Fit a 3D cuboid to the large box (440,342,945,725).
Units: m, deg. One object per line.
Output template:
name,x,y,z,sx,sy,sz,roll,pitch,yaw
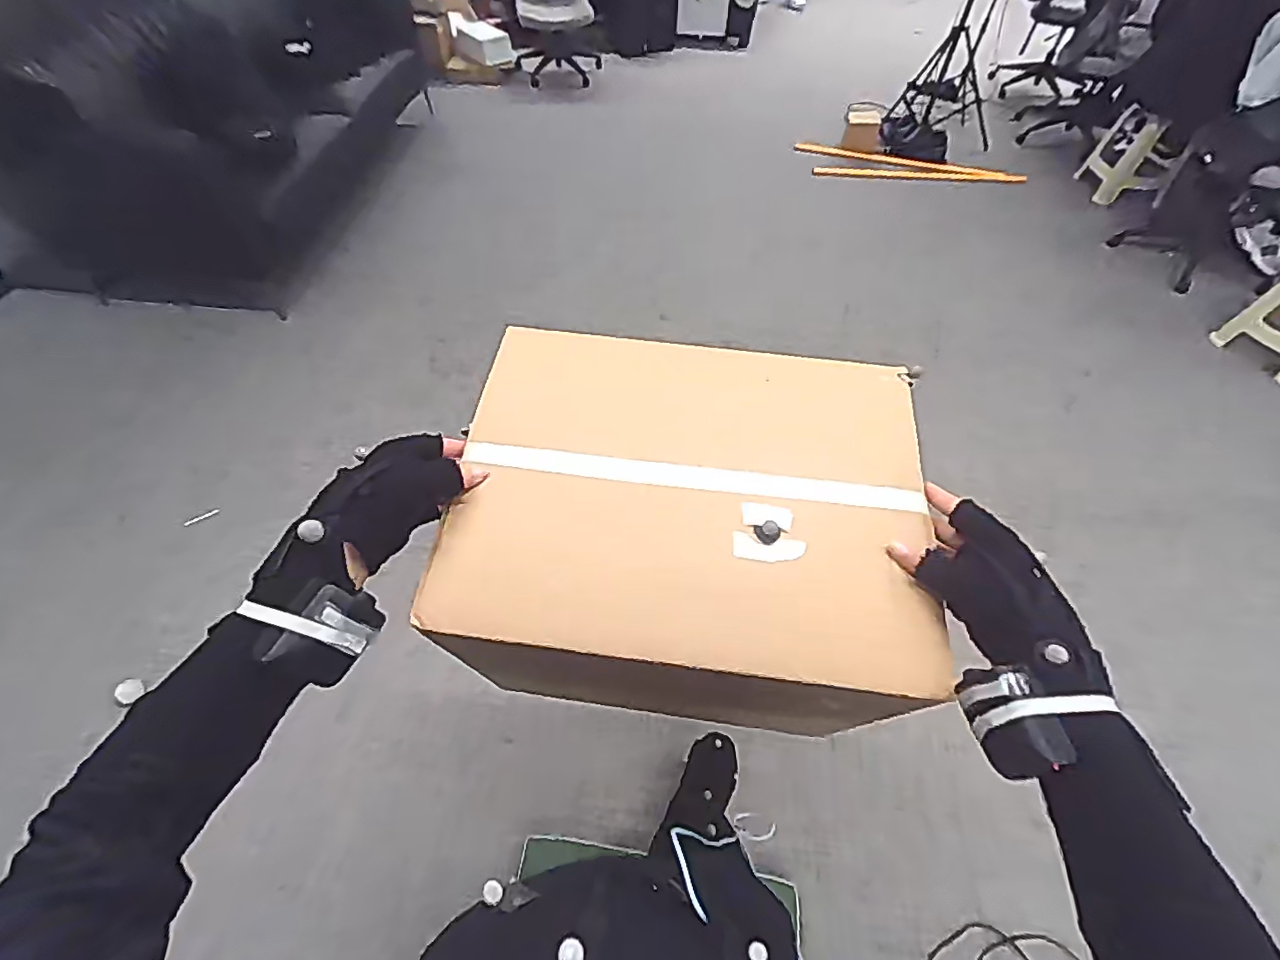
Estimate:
large box,0.048,0.078,0.619,0.408,0.320,0.320,7,61,2
